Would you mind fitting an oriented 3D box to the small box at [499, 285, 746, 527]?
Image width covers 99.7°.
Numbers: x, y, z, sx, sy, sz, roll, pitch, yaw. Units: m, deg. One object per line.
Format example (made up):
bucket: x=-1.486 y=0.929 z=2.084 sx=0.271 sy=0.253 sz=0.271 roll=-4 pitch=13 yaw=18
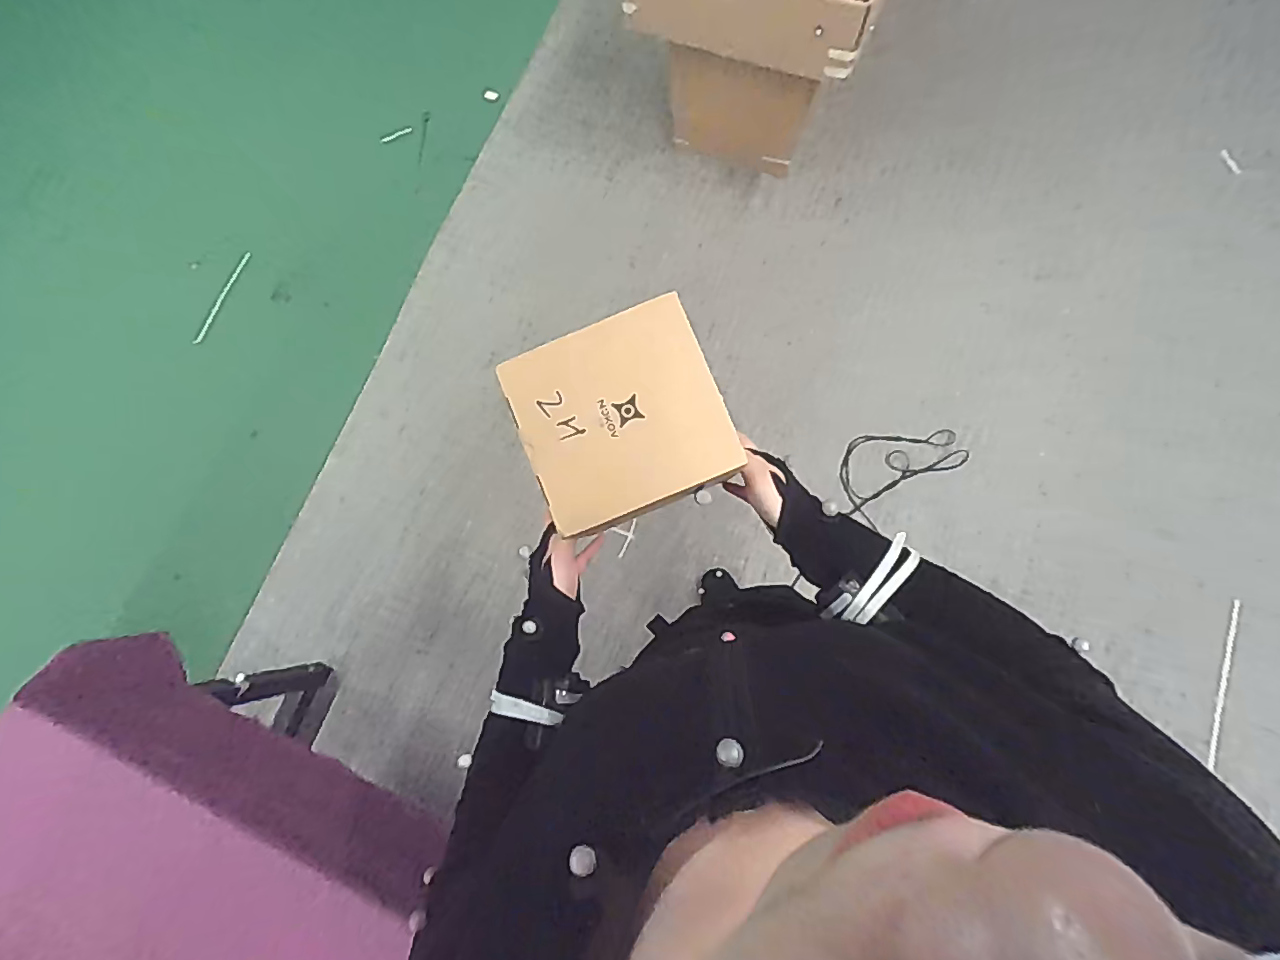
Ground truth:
small box: x=-0.012 y=-0.060 z=0.545 sx=0.179 sy=0.176 sz=0.168 roll=-22 pitch=84 yaw=3
